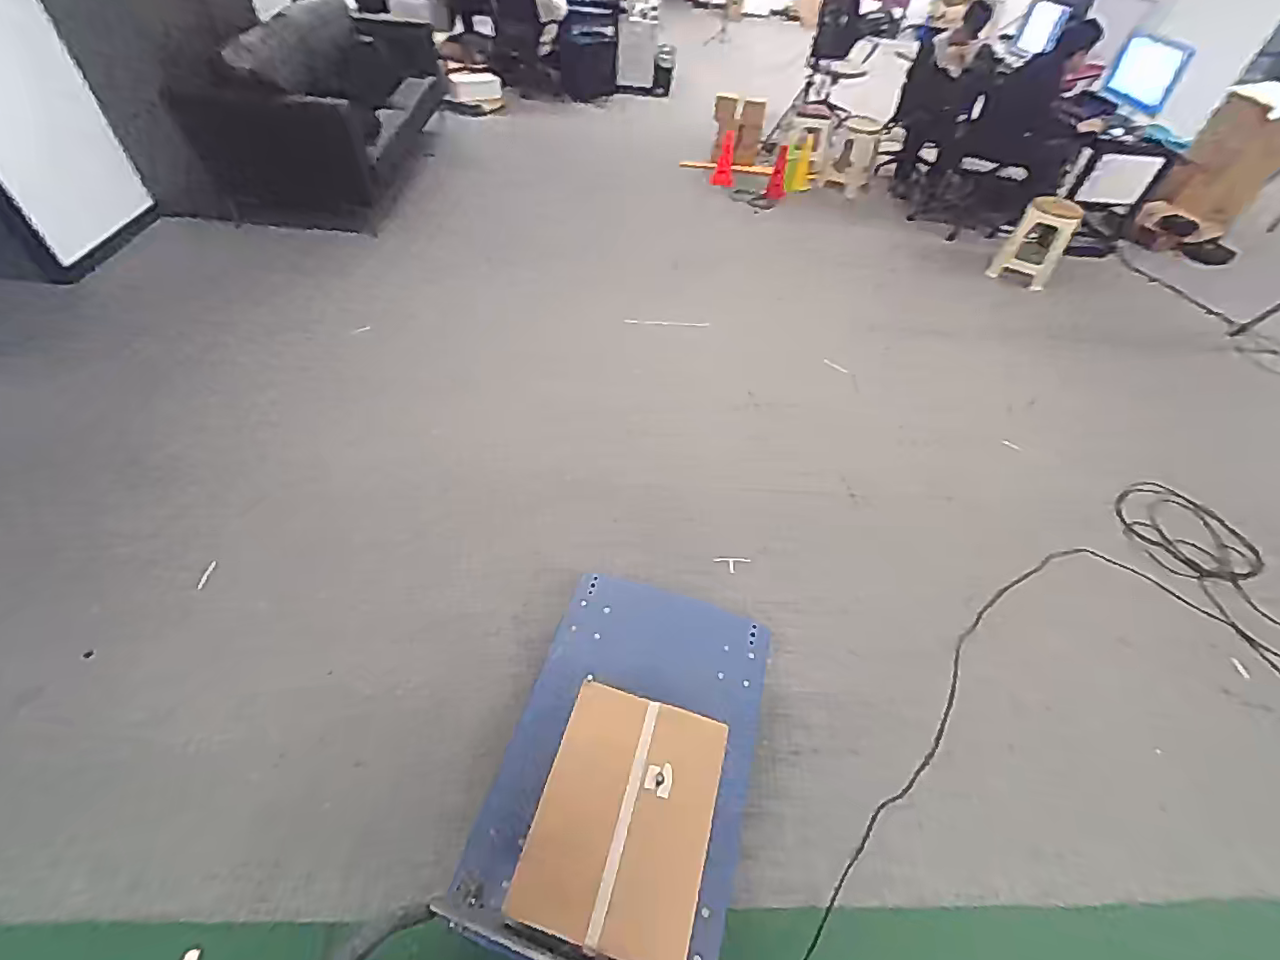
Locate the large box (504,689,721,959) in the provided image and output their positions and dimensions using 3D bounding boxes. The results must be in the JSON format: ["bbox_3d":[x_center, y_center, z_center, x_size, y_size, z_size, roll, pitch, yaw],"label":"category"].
[{"bbox_3d":[-0.040,0.713,1.105,0.320,0.320,0.408,15,50,7],"label":"large box"}]
